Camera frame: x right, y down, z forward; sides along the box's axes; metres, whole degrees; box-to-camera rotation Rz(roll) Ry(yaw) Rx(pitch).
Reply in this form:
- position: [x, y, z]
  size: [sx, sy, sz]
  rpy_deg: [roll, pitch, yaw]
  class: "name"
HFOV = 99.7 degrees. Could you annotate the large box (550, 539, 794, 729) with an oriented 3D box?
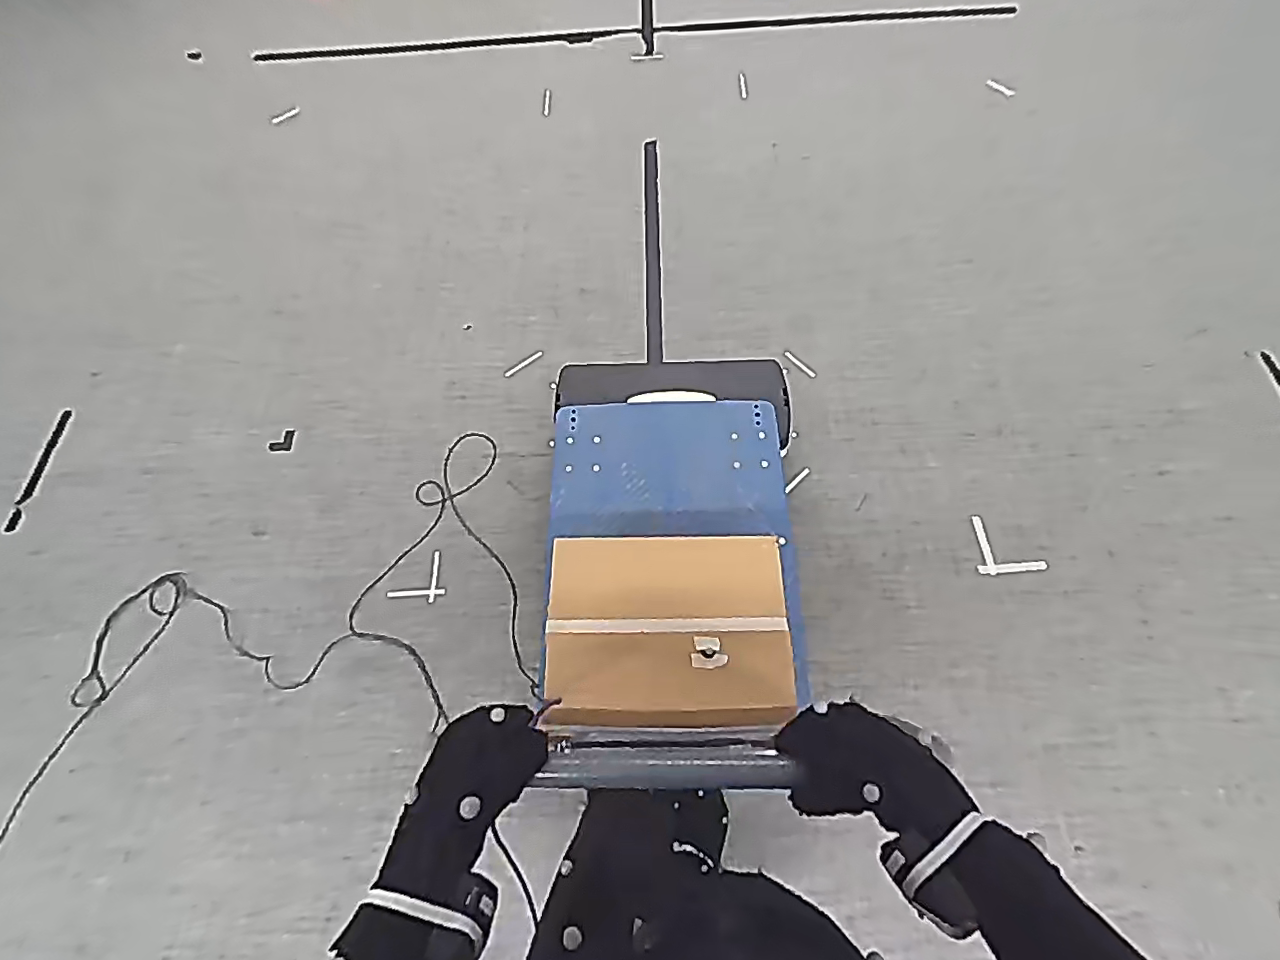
- position: [0.049, 0.314, 1.064]
  size: [0.408, 0.320, 0.320]
  rpy_deg: [-1, 66, 1]
  class: "large box"
